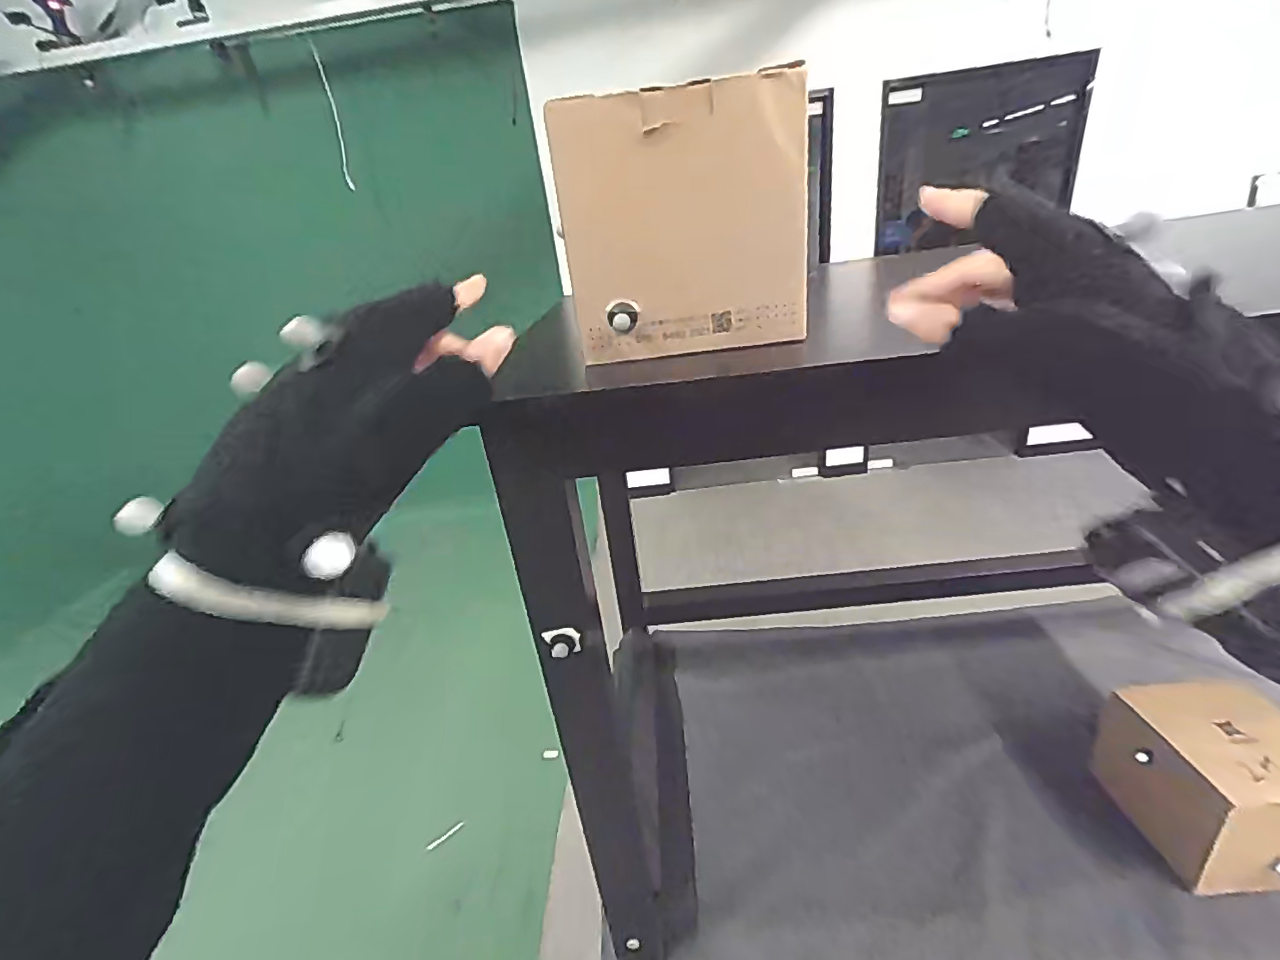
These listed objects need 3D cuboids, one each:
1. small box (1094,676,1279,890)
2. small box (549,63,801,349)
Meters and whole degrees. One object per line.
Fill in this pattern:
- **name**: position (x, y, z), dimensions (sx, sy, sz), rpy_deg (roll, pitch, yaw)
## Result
- **small box**: position (0.747, 0.387, 0.706), dimensions (0.168, 0.176, 0.179), rpy_deg (-7, 23, 3)
- **small box**: position (0.032, -0.208, 0.448), dimensions (0.168, 0.176, 0.179), rpy_deg (-6, 23, 2)
